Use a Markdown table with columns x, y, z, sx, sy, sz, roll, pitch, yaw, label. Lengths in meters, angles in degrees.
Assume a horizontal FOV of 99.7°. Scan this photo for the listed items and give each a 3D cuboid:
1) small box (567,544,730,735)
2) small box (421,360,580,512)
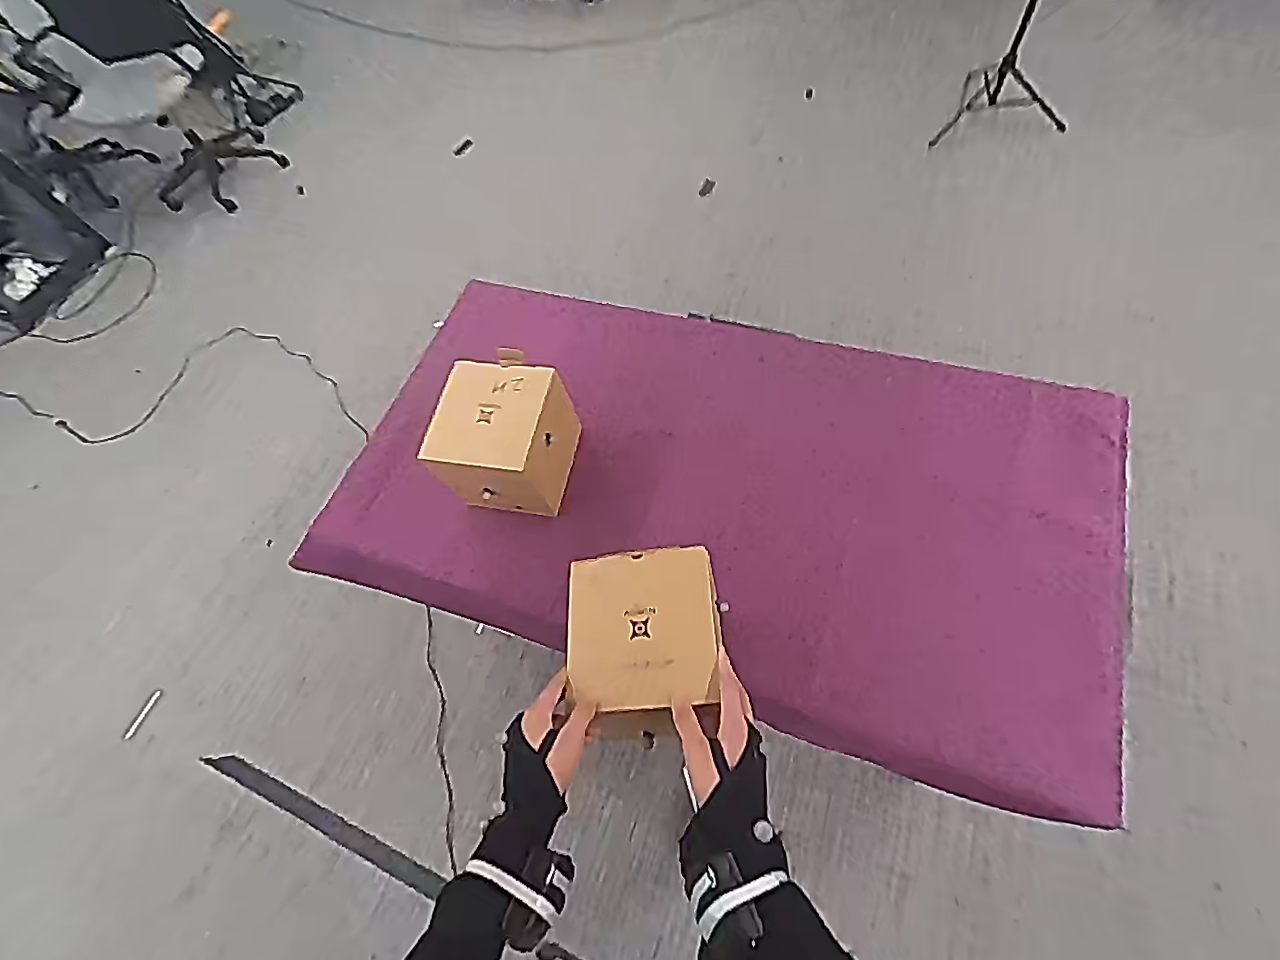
| x | y | z | sx | sy | sz | roll | pitch | yaw | label |
| --- | --- | --- | --- | --- | --- | --- | --- | --- | --- |
| 0.018 | 0.199 | 0.663 | 0.168 | 0.176 | 0.179 | -7 | 54 | 9 | small box |
| -0.206 | -0.063 | 0.855 | 0.168 | 0.176 | 0.179 | 8 | 65 | 12 | small box |
